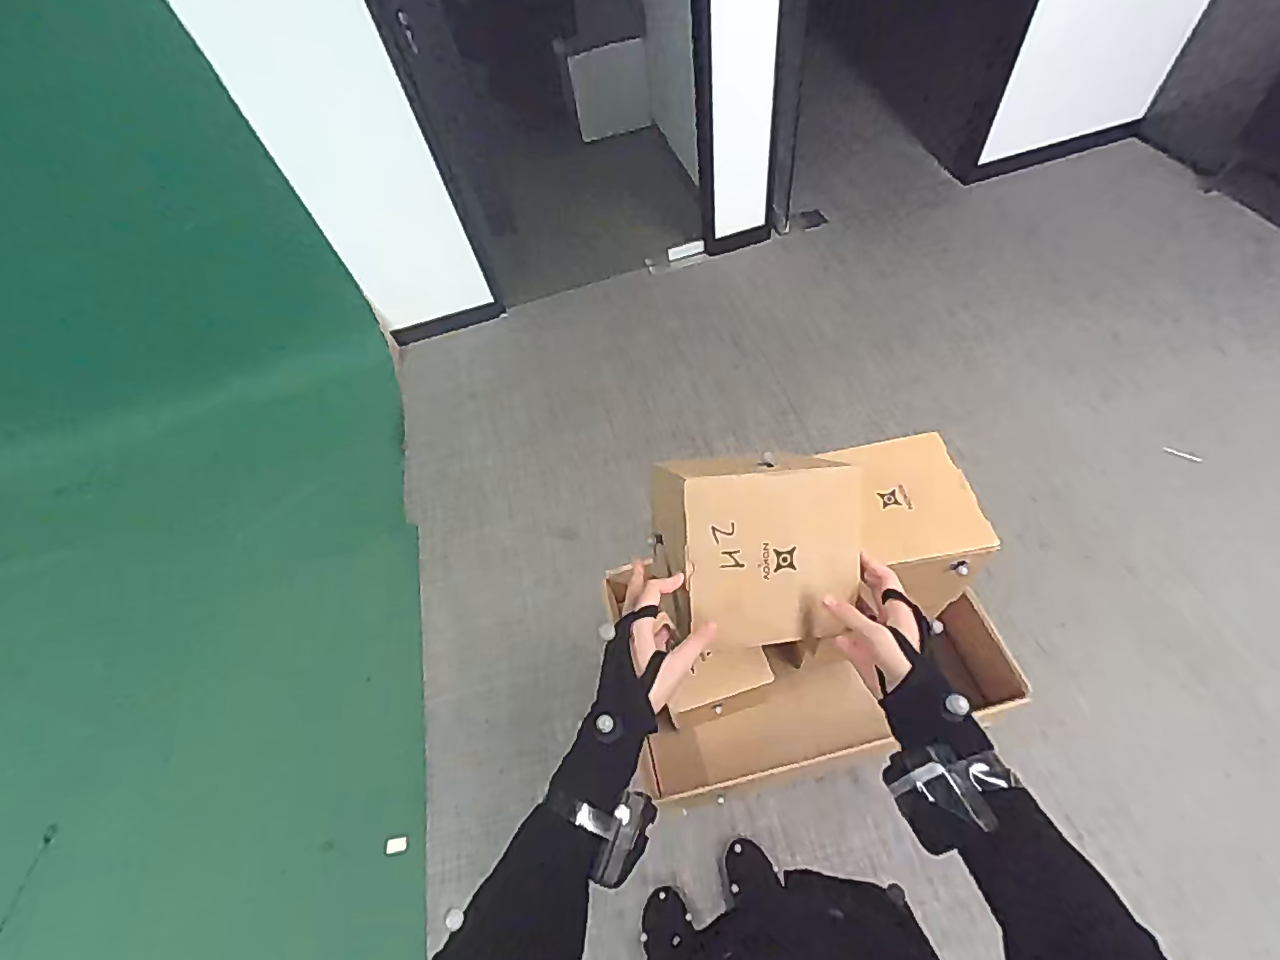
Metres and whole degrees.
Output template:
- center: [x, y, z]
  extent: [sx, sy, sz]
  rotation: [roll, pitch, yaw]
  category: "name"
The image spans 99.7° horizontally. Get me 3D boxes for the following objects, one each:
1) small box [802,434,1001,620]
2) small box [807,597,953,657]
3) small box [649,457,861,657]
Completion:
- center: [0.310, 0.069, 0.696]
  extent: [0.179, 0.176, 0.168]
  rotation: [-12, 55, 3]
  category: "small box"
- center: [0.333, 0.157, 0.830]
  extent: [0.179, 0.176, 0.168]
  rotation: [-13, 56, 3]
  category: "small box"
- center: [0.112, 0.068, 0.580]
  extent: [0.179, 0.176, 0.168]
  rotation: [-5, 97, -7]
  category: "small box"
